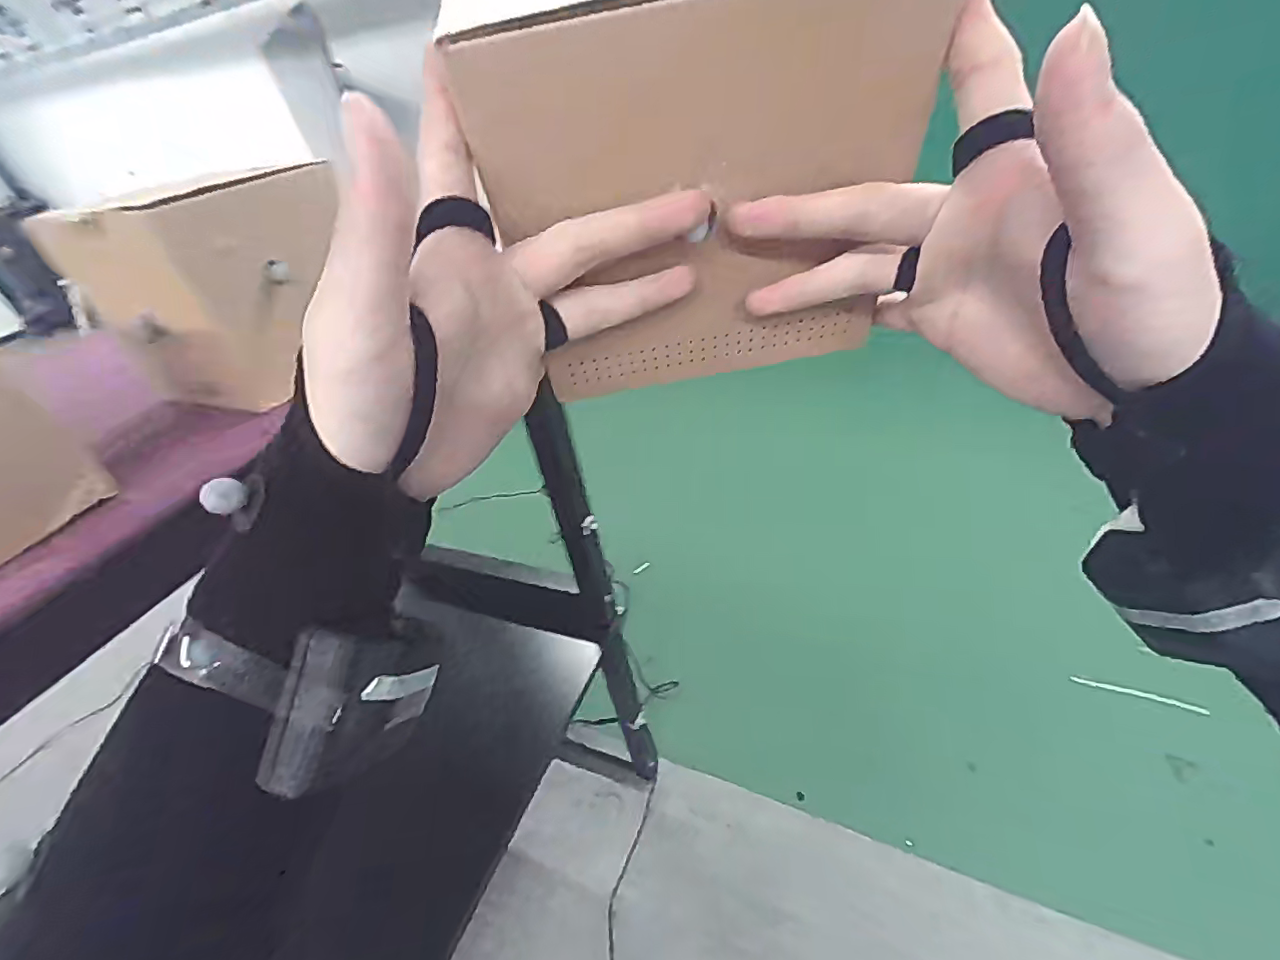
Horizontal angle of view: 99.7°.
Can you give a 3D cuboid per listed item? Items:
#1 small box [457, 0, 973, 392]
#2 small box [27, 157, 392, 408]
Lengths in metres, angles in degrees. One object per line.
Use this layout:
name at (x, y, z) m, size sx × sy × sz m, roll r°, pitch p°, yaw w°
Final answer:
small box at (0.026, -0.171, 0.284) m, size 0.179 × 0.176 × 0.168 m, roll -11°, pitch 54°, yaw 2°
small box at (-0.376, -0.184, 0.511) m, size 0.168 × 0.176 × 0.179 m, roll 9°, pitch 43°, yaw 21°
